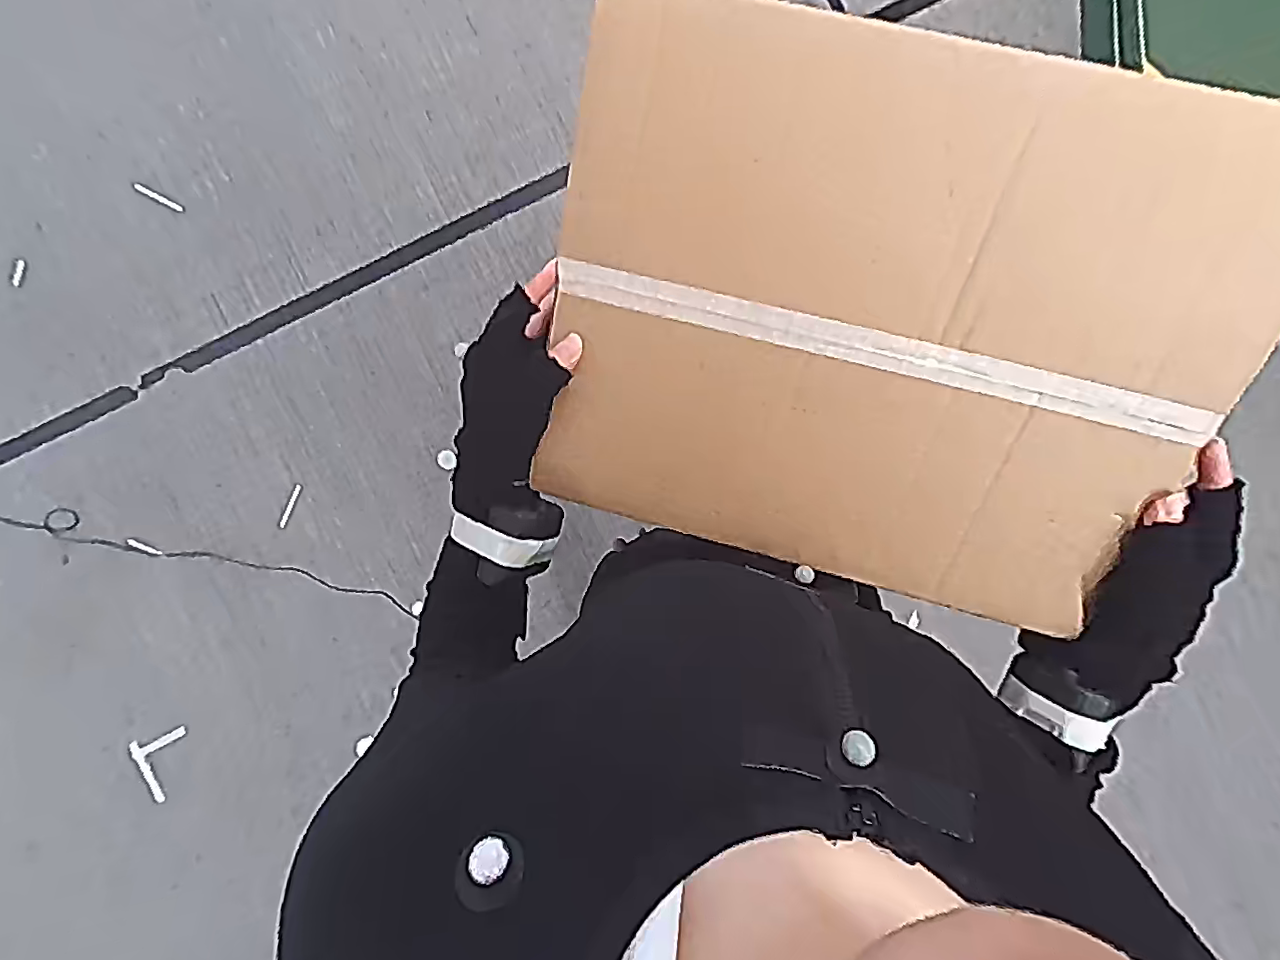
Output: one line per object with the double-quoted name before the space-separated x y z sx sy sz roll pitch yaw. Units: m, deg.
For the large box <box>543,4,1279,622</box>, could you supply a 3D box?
"large box" 0.167 -0.134 0.481 0.408 0.320 0.320 15 114 4
